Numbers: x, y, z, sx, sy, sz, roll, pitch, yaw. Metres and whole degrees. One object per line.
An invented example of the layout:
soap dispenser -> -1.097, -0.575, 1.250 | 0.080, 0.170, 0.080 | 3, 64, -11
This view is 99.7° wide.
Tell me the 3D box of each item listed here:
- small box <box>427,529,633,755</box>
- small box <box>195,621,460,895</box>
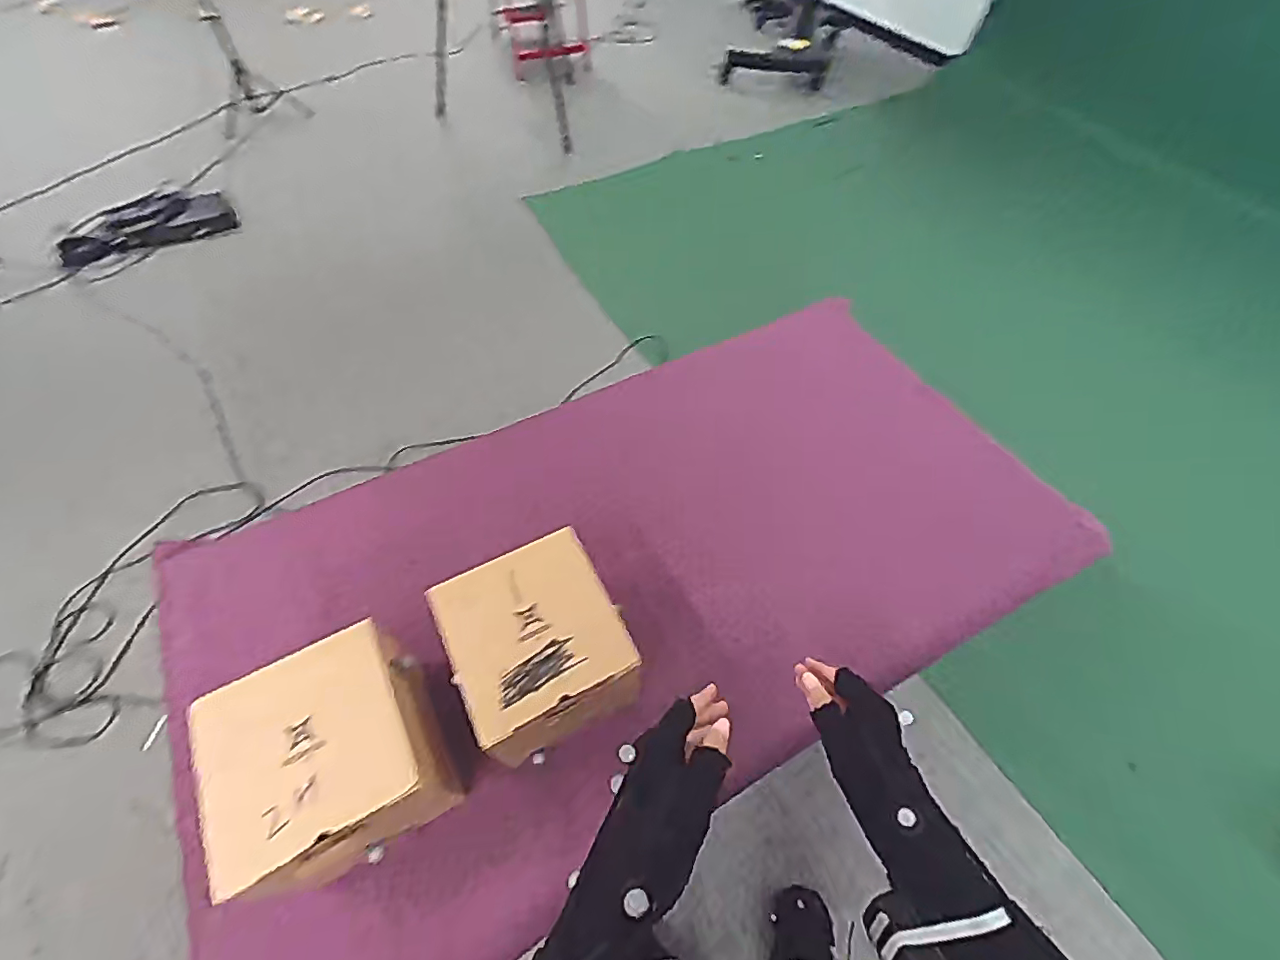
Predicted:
small box -> -0.117, 0.194, 0.624 | 0.168, 0.176, 0.179 | -24, 60, -17
small box -> -0.308, 0.283, 0.557 | 0.168, 0.176, 0.179 | -26, 61, -17
